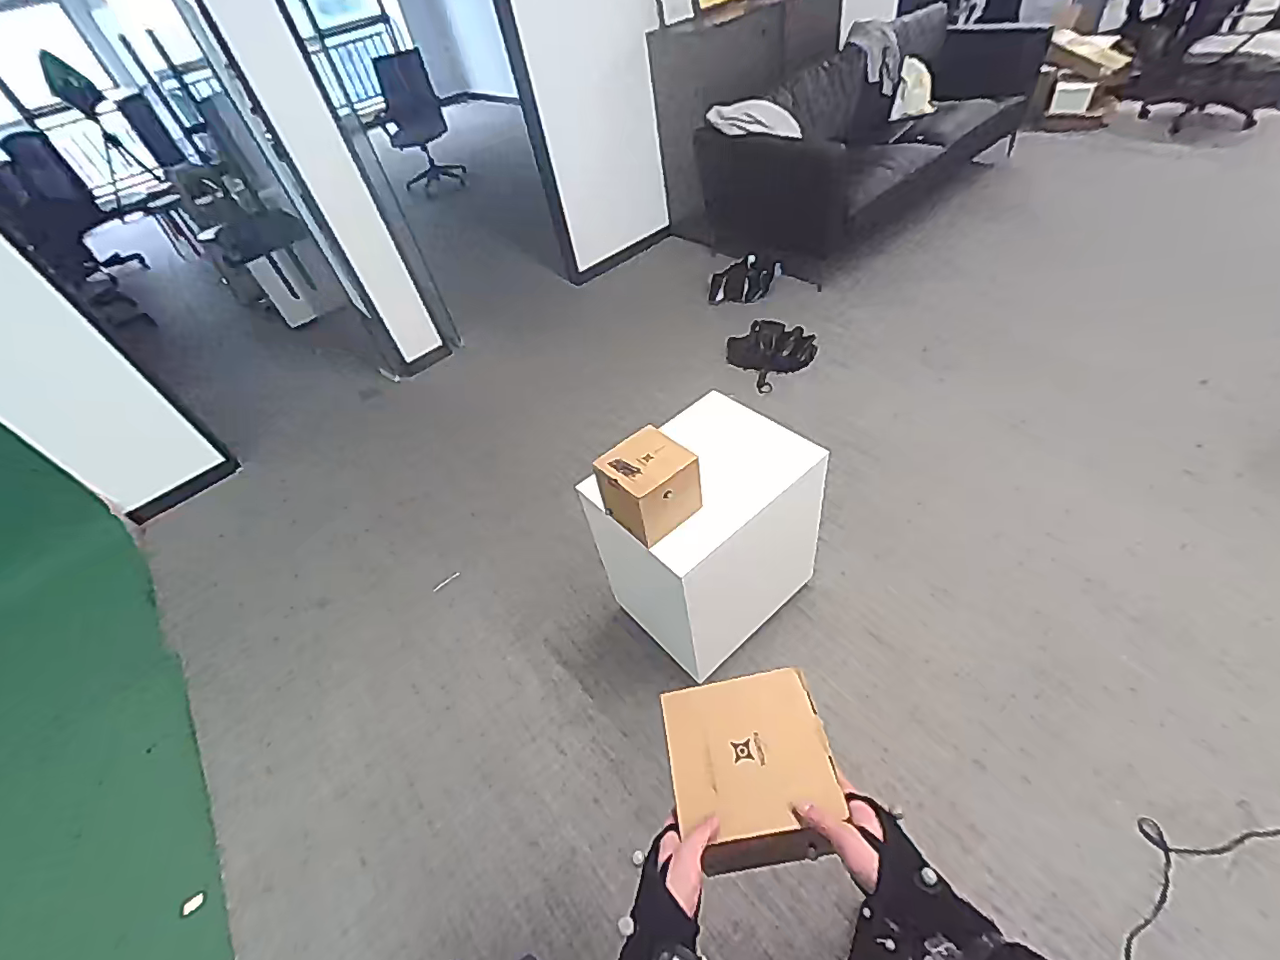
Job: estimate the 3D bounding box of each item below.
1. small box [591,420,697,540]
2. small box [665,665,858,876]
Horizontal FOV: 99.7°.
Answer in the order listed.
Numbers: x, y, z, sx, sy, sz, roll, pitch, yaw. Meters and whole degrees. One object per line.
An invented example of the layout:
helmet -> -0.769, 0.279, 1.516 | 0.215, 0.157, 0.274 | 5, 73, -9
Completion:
small box -> 0.018, 0.002, 1.221 | 0.179, 0.176, 0.168 | -34, 51, -23
small box -> 0.139, 0.350, 0.648 | 0.179, 0.176, 0.168 | -15, 44, 4
